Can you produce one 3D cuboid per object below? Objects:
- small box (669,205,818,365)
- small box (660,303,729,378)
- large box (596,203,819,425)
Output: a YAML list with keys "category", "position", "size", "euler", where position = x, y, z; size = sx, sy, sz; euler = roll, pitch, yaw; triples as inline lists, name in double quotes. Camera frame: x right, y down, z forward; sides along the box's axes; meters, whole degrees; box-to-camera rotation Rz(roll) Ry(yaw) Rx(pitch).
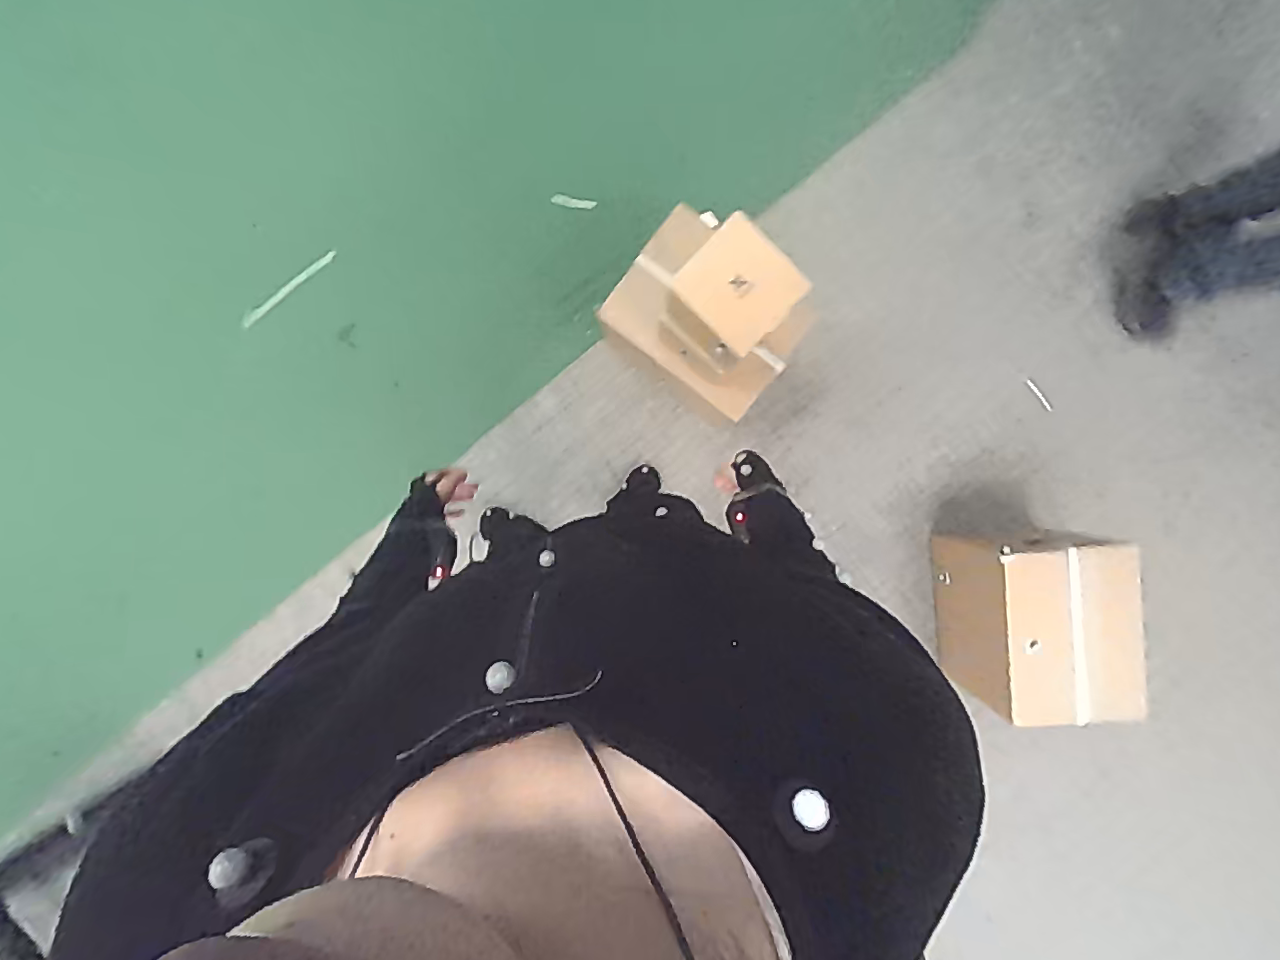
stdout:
- category: "small box"
  position: [0.165, -0.322, 0.937]
  size: [0.179, 0.176, 0.168]
  euler: [44, 92, -3]
- category: "small box"
  position: [0.156, -0.328, 1.099]
  size: [0.168, 0.176, 0.179]
  euler: [43, 92, -3]
- category: "large box"
  position: [0.153, -0.379, 1.343]
  size: [0.408, 0.320, 0.320]
  euler: [38, 91, -1]
